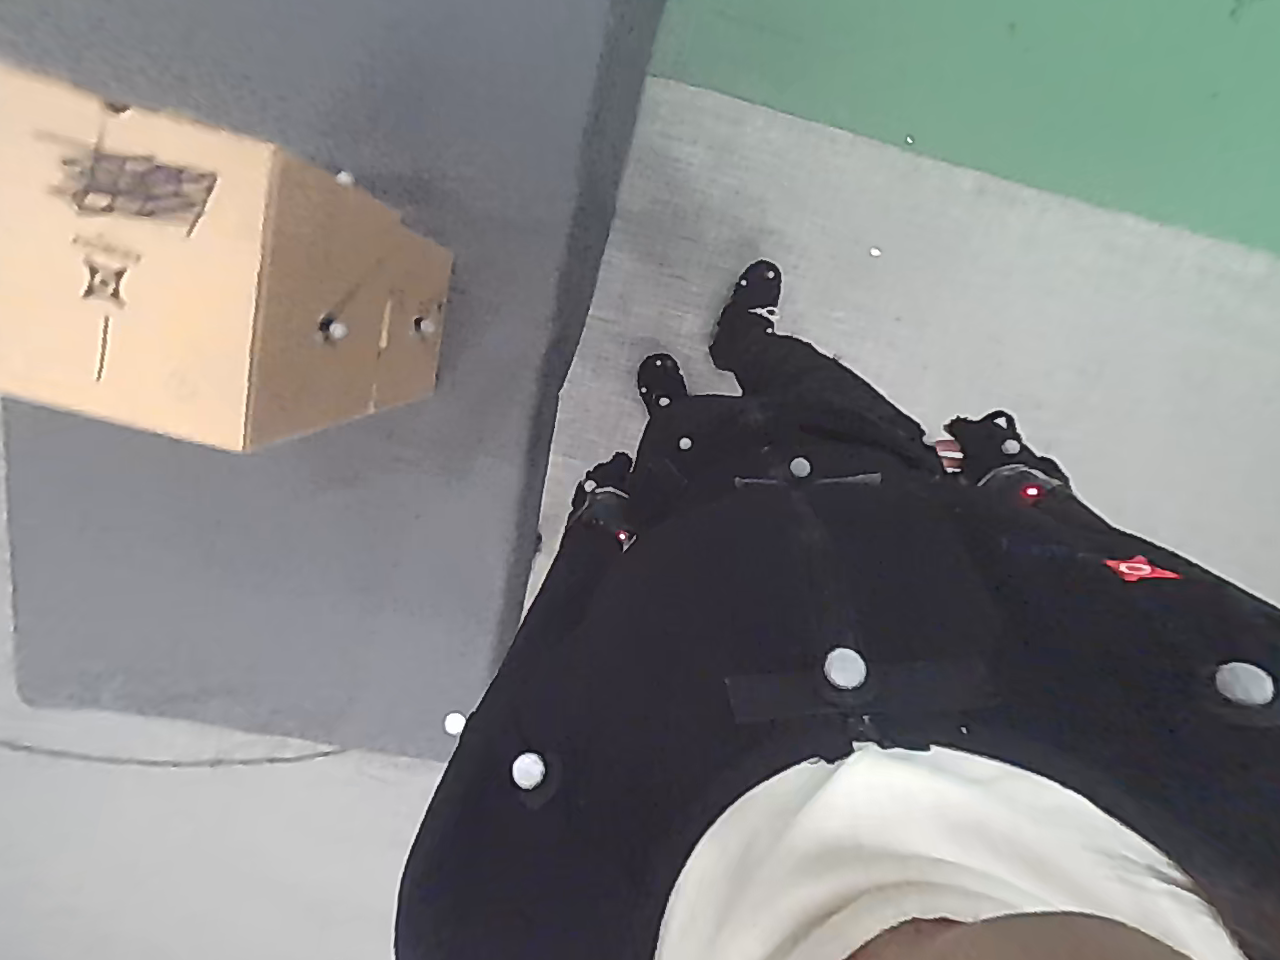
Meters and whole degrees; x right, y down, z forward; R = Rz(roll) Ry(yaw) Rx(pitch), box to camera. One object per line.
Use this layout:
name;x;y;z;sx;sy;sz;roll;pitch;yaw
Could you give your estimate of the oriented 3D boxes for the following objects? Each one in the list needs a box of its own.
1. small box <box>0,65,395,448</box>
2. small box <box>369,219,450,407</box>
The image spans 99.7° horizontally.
small box;-0.296;-0.141;0.386;0.168;0.176;0.179;14;106;-4
small box;-0.307;-0.181;0.546;0.179;0.176;0.168;11;105;-4
